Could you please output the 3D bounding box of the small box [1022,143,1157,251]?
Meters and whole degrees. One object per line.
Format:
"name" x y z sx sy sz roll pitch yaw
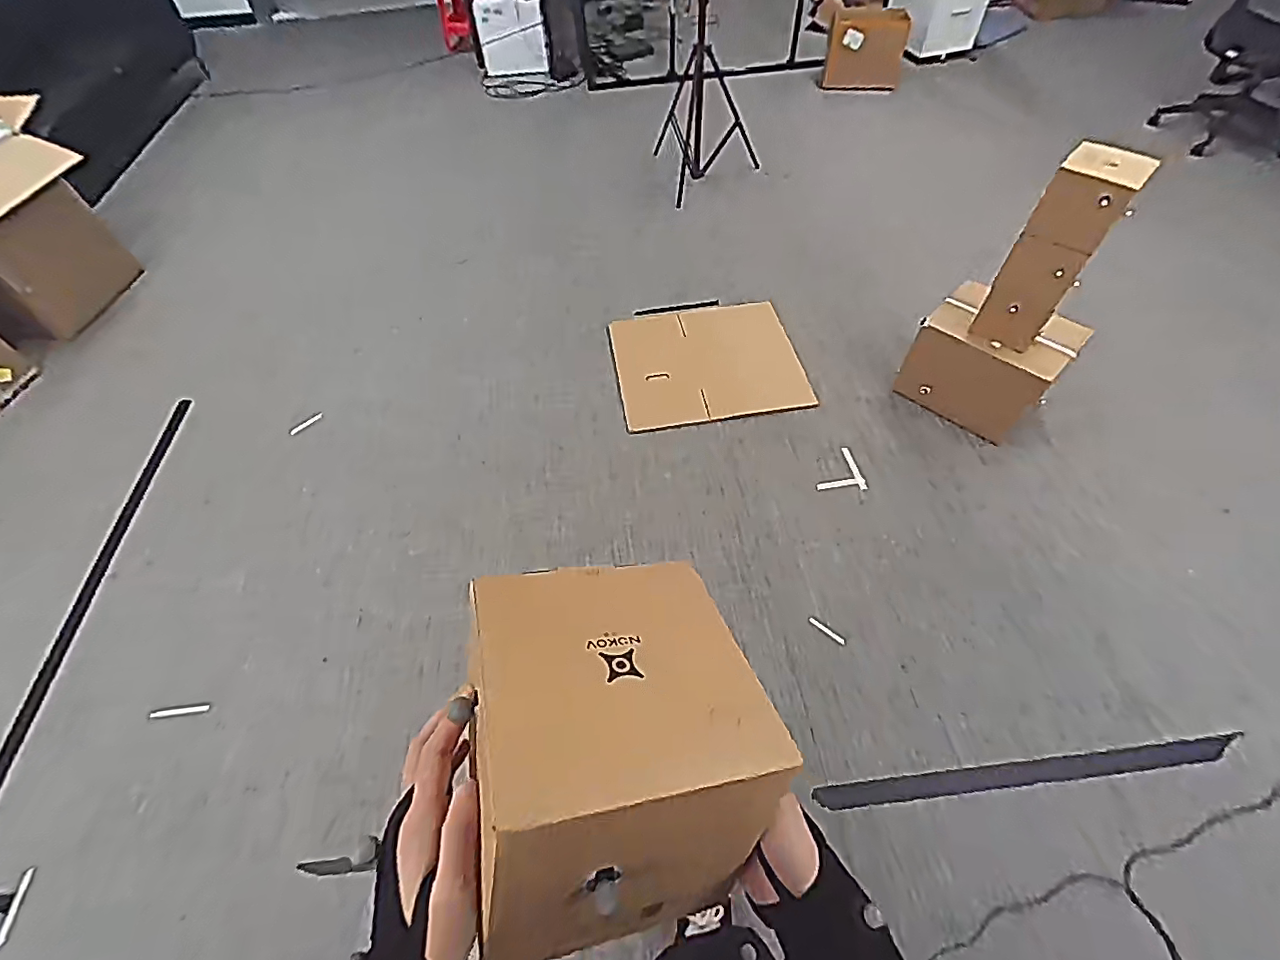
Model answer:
"small box" 1.121 -0.704 1.359 0.179 0.176 0.168 36 64 25

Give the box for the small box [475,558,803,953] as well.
"small box" -0.023 0.178 0.372 0.168 0.176 0.179 -1 31 -21

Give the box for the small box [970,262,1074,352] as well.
"small box" 1.140 -0.518 1.630 0.179 0.176 0.168 36 65 24
